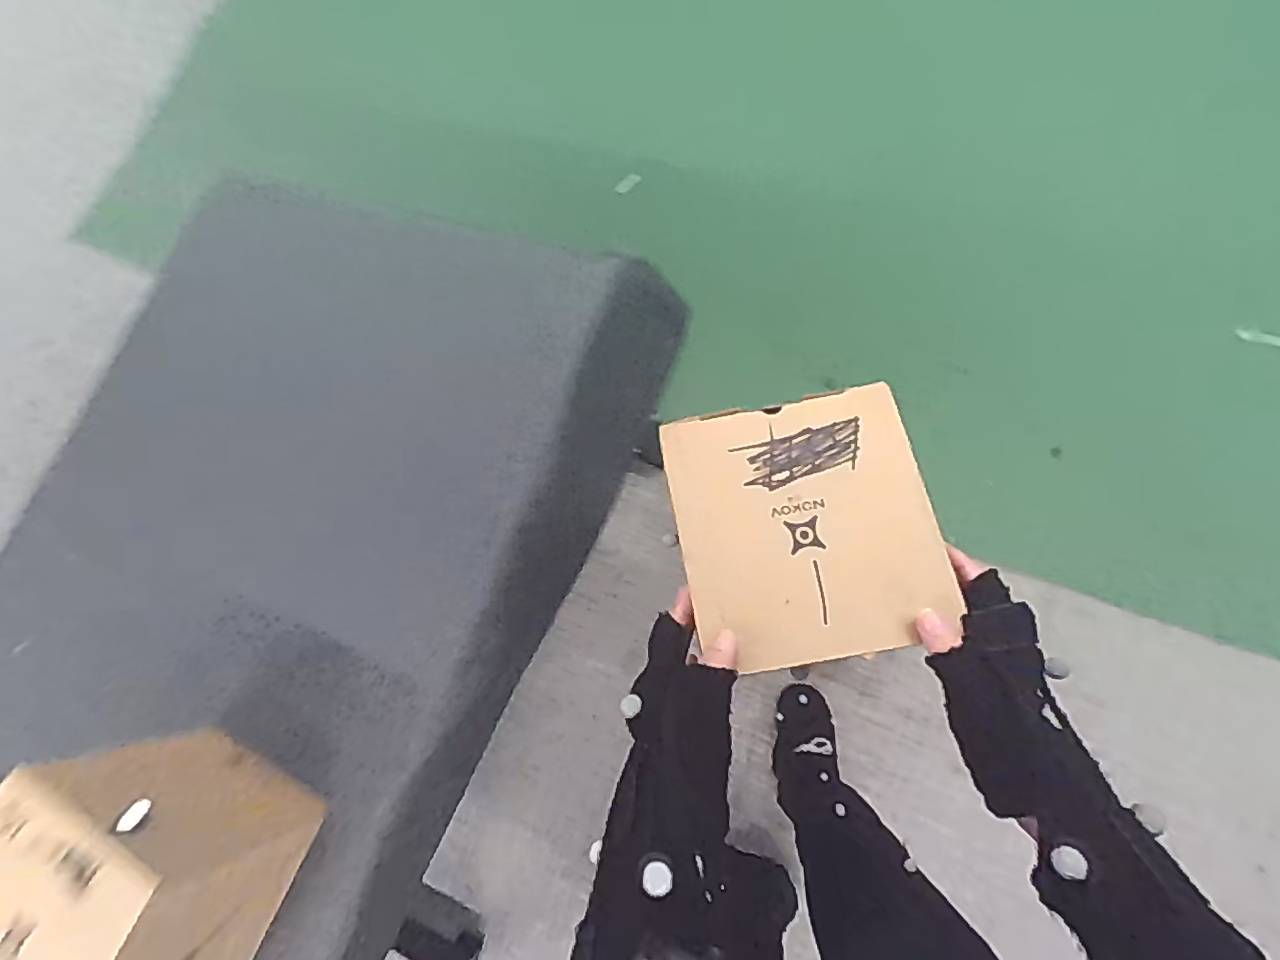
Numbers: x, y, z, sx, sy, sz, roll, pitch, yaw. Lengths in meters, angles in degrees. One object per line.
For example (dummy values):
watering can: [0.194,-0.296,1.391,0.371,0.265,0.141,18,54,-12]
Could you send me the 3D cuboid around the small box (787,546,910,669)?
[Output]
small box: [0.412,0.257,1.101,0.168,0.176,0.179,28,83,16]
